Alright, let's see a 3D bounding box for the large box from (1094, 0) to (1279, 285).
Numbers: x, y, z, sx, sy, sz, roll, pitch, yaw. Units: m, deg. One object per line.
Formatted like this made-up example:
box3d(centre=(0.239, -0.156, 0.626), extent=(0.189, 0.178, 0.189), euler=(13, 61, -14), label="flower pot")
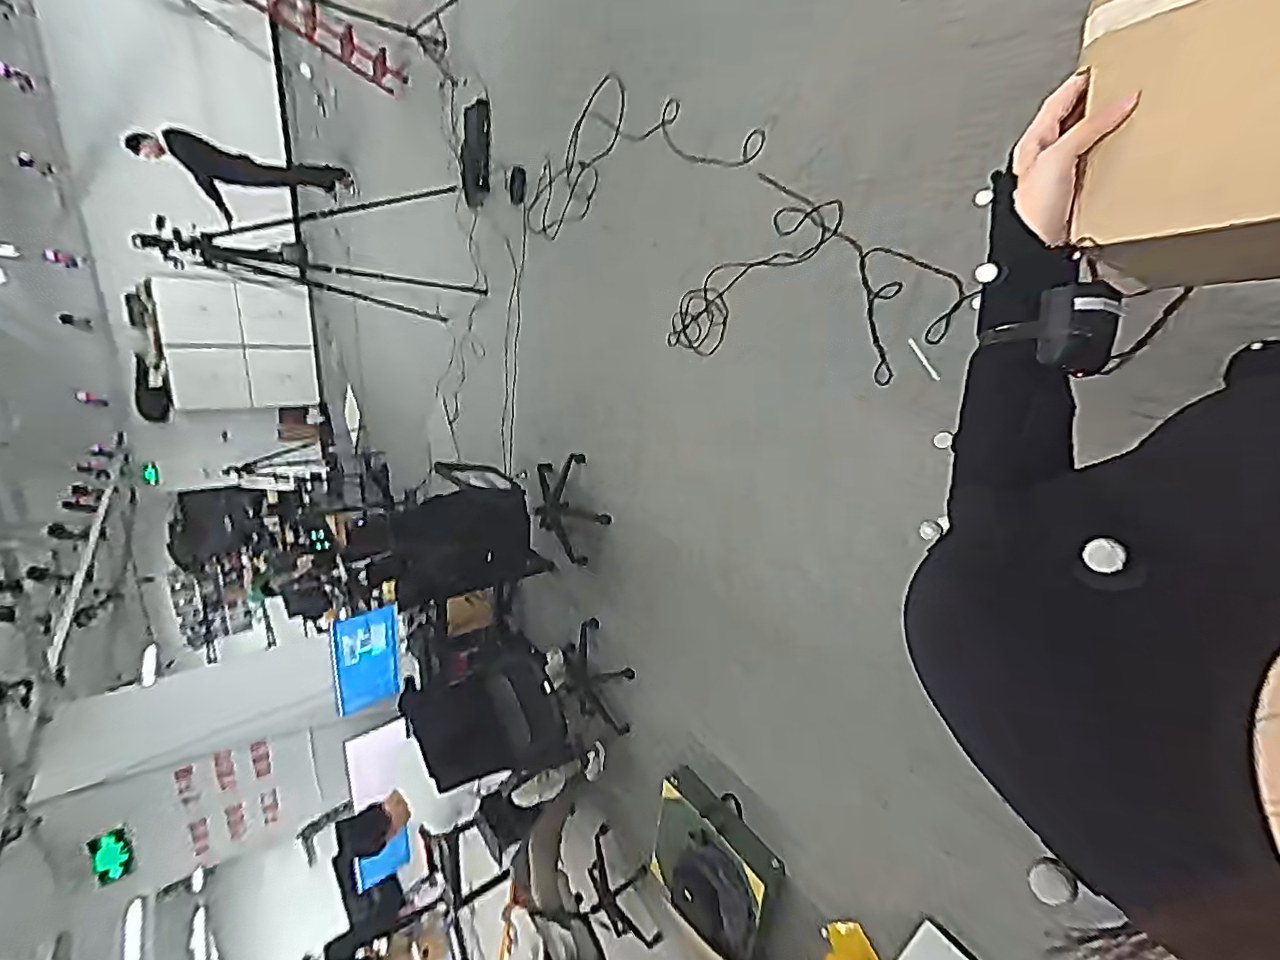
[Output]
box3d(centre=(0.587, -0.326, 0.338), extent=(0.408, 0.320, 0.320), euler=(13, 106, 48), label="large box")
